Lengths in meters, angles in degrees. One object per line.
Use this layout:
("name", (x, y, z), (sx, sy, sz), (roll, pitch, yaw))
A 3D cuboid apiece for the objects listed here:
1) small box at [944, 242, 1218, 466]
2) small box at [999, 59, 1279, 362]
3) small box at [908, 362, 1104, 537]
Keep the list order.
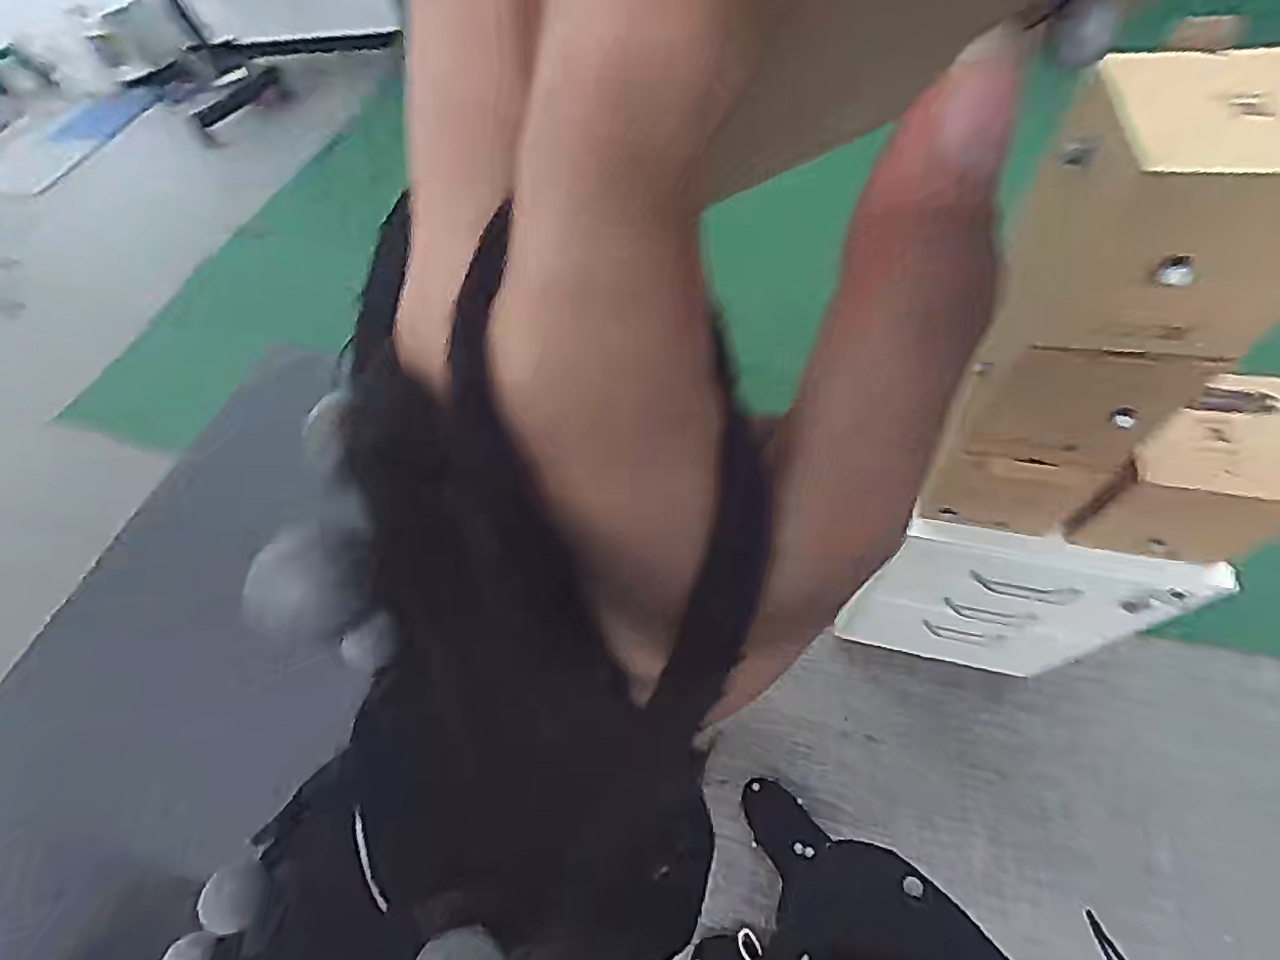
("small box", (0.457, -0.134, 0.599), (0.168, 0.176, 0.179), (8, 59, 11))
("small box", (0.441, -0.222, 0.463), (0.168, 0.176, 0.179), (7, 59, 11))
("small box", (0.476, -0.042, 0.732), (0.168, 0.176, 0.179), (10, 60, 14))
